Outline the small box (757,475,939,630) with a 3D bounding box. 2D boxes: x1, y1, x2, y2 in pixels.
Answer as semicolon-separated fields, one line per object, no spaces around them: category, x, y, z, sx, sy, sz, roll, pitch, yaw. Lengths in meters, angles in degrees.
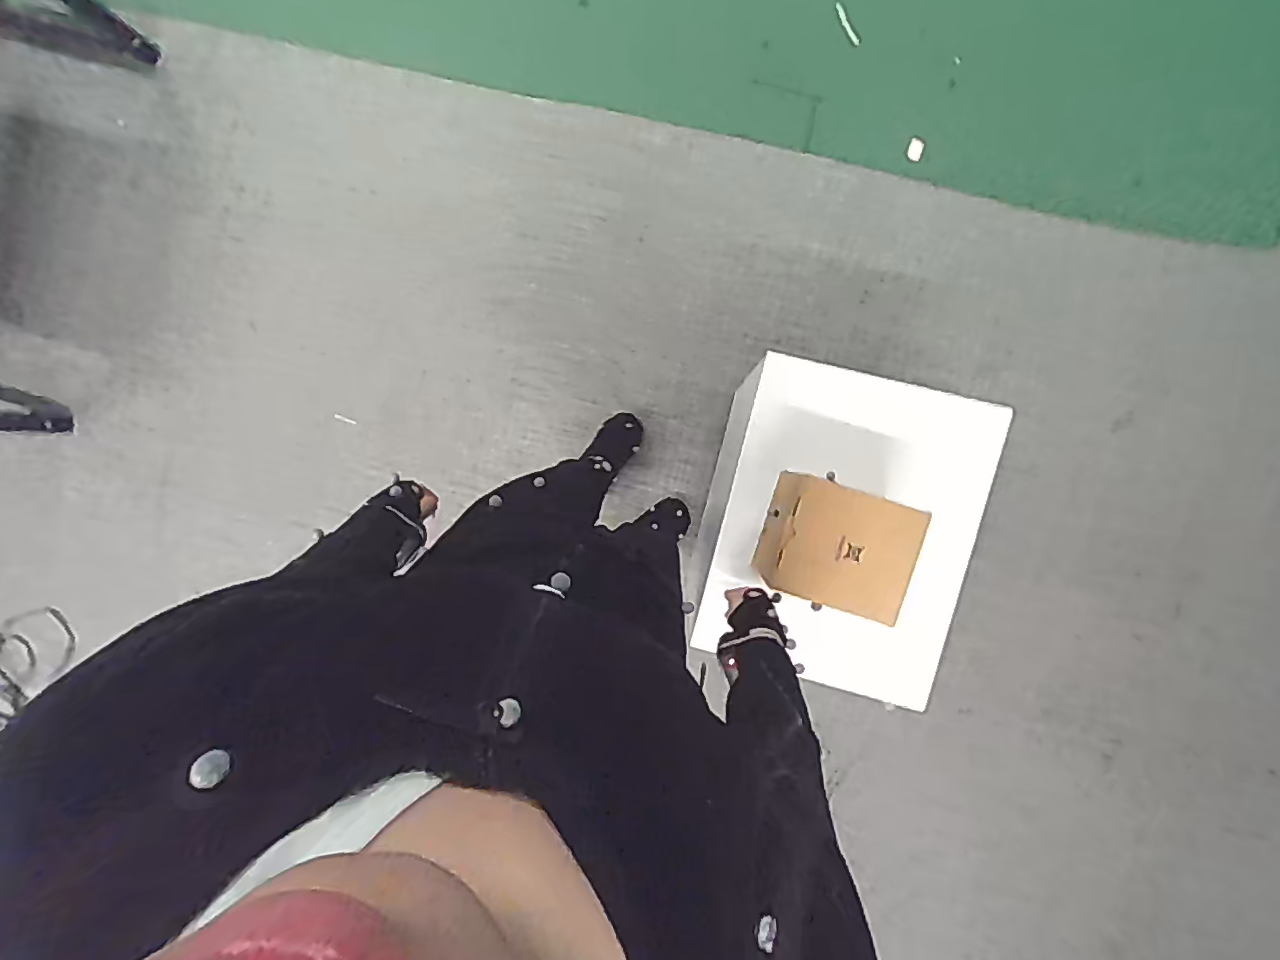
small box;0.286;0.091;0.784;0.179;0.176;0.168;17;93;4
